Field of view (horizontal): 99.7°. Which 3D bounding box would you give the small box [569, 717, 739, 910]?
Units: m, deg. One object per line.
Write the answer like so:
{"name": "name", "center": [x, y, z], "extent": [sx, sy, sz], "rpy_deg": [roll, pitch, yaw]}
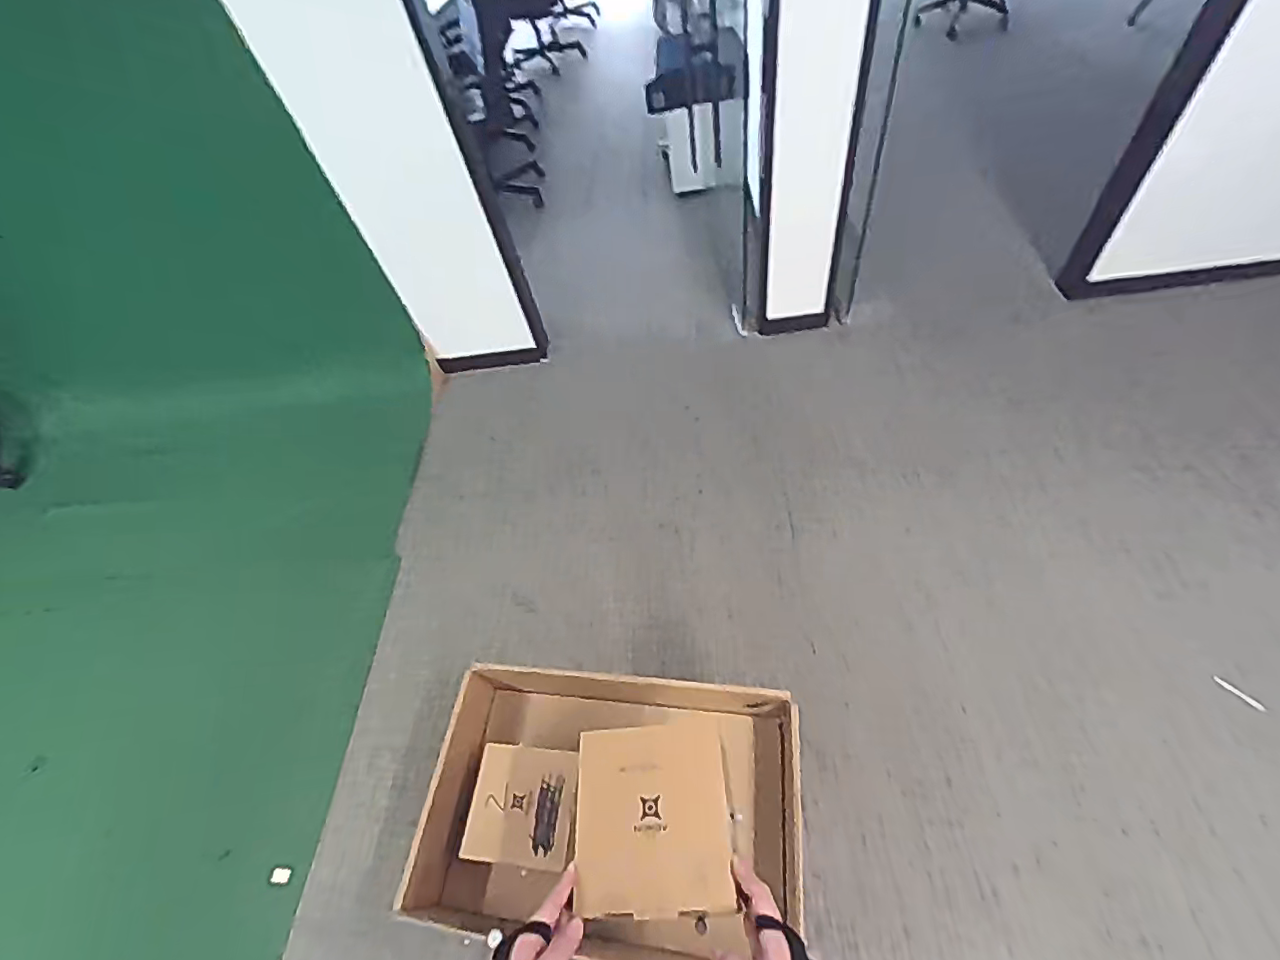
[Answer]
{"name": "small box", "center": [0.023, 0.400, 0.647], "extent": [0.168, 0.176, 0.179], "rpy_deg": [-8, 51, 9]}
